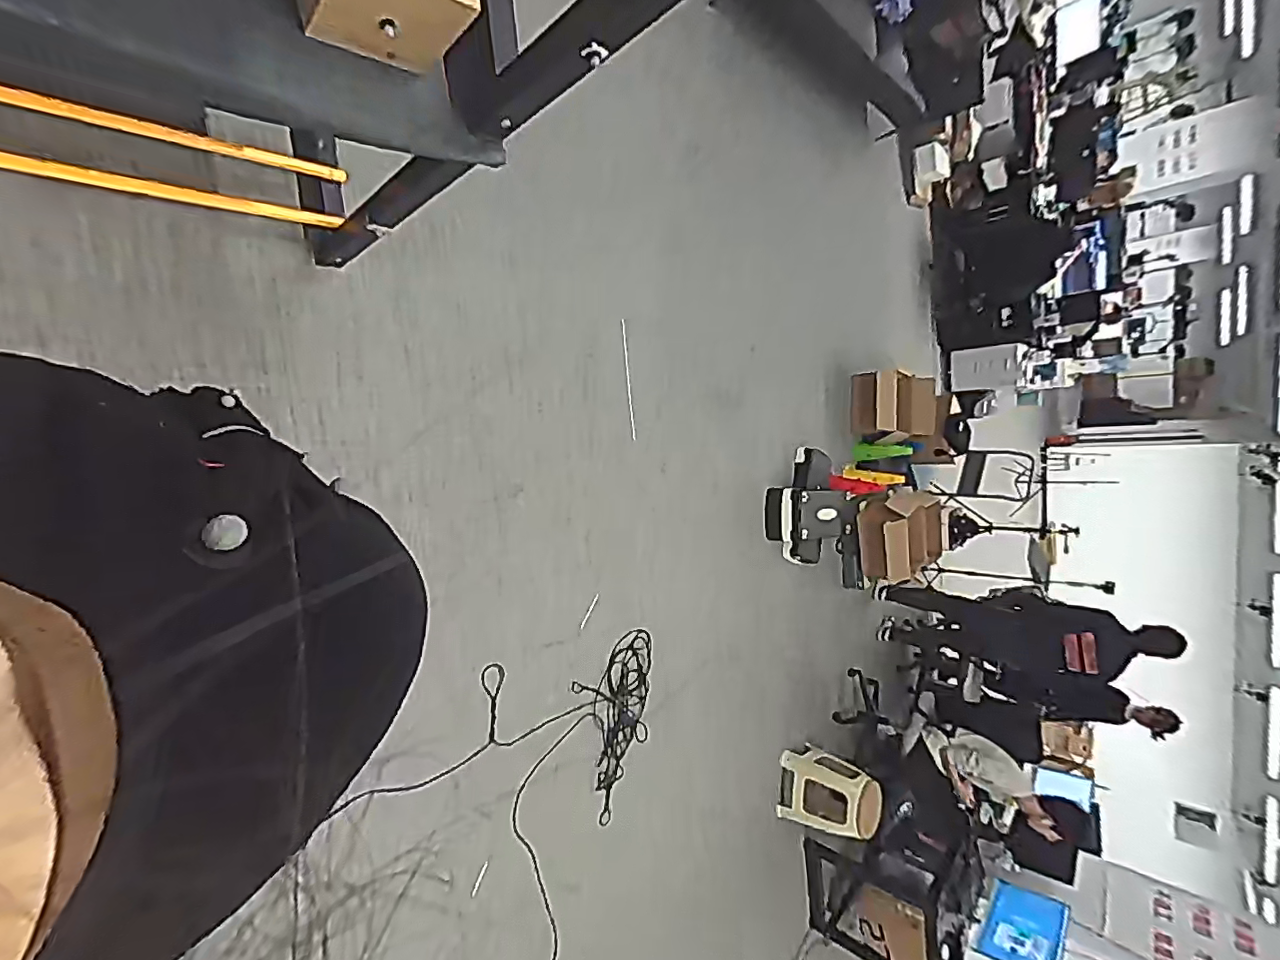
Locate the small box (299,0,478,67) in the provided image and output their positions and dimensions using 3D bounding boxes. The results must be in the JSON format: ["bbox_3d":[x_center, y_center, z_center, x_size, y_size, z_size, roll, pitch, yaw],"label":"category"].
[{"bbox_3d":[-0.334,-0.681,0.691,0.168,0.176,0.179,-17,102,-46],"label":"small box"}]
